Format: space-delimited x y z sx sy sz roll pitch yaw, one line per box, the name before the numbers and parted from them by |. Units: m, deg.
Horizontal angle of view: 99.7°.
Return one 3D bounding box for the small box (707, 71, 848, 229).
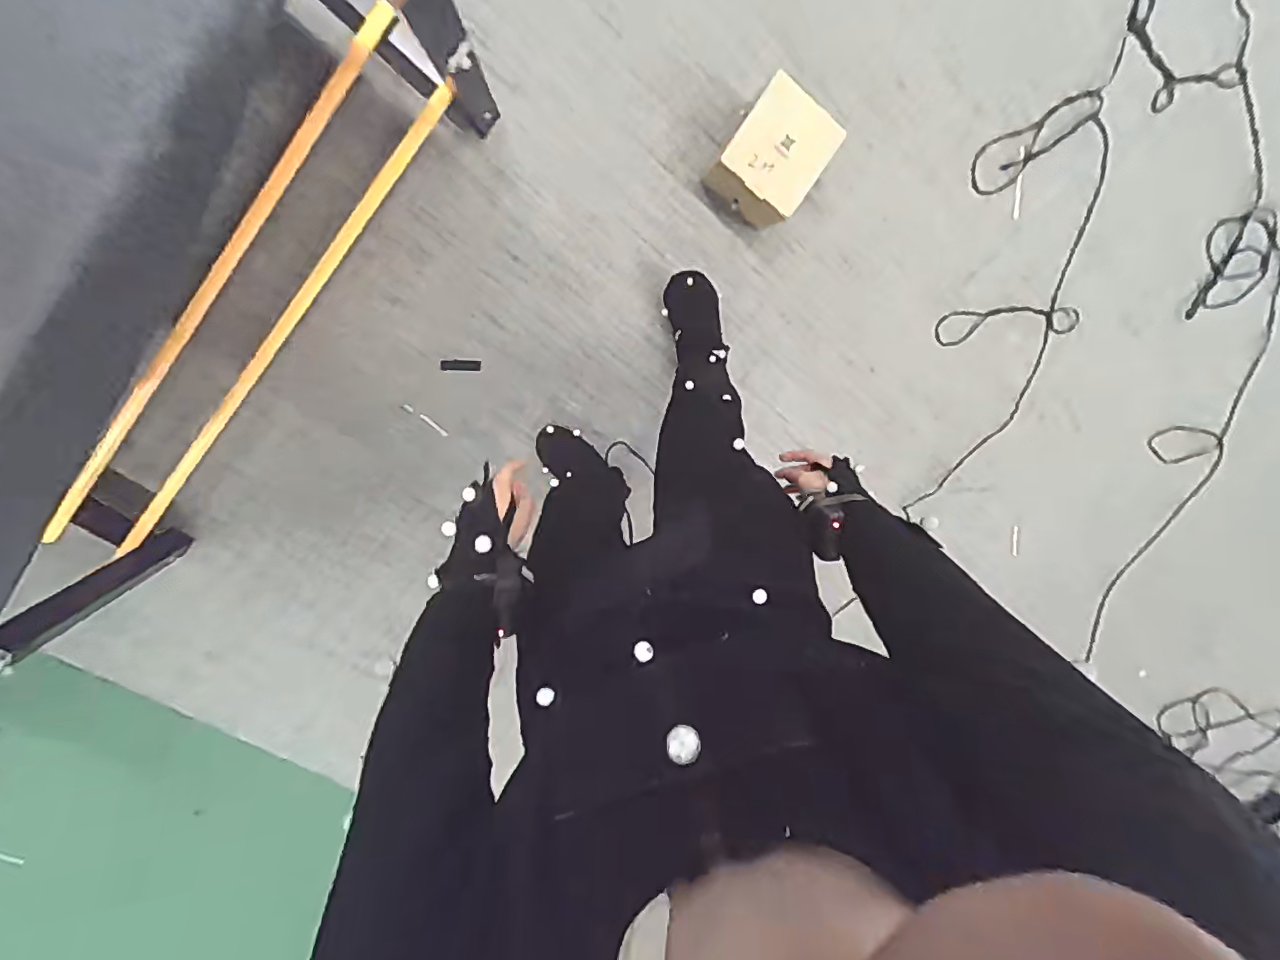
small box | 0.249 -0.612 1.032 0.168 0.176 0.179 33 102 -15
